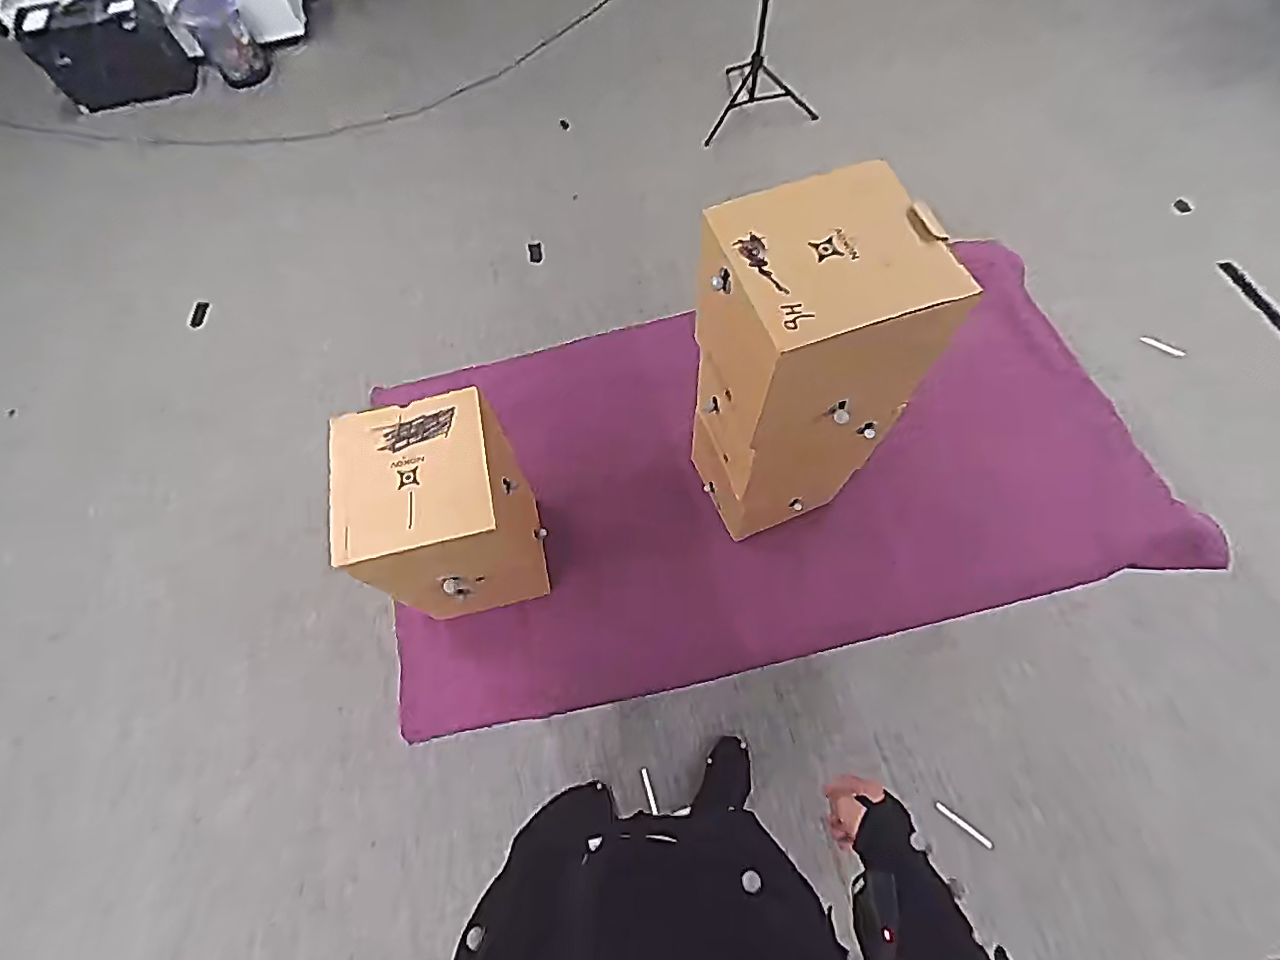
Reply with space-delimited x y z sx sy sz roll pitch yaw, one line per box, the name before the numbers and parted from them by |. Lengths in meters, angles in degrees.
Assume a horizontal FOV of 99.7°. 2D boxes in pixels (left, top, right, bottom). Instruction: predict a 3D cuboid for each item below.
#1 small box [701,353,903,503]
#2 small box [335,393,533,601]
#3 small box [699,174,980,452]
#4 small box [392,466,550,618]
small box | 0.182 -0.089 0.674 0.179 0.176 0.168 -17 67 -5
small box | -0.233 0.027 0.639 0.168 0.176 0.179 -13 67 -4
small box | 0.167 -0.150 0.523 0.179 0.176 0.168 -17 66 -5
small box | -0.241 0.093 0.790 0.179 0.176 0.168 -12 66 -4
